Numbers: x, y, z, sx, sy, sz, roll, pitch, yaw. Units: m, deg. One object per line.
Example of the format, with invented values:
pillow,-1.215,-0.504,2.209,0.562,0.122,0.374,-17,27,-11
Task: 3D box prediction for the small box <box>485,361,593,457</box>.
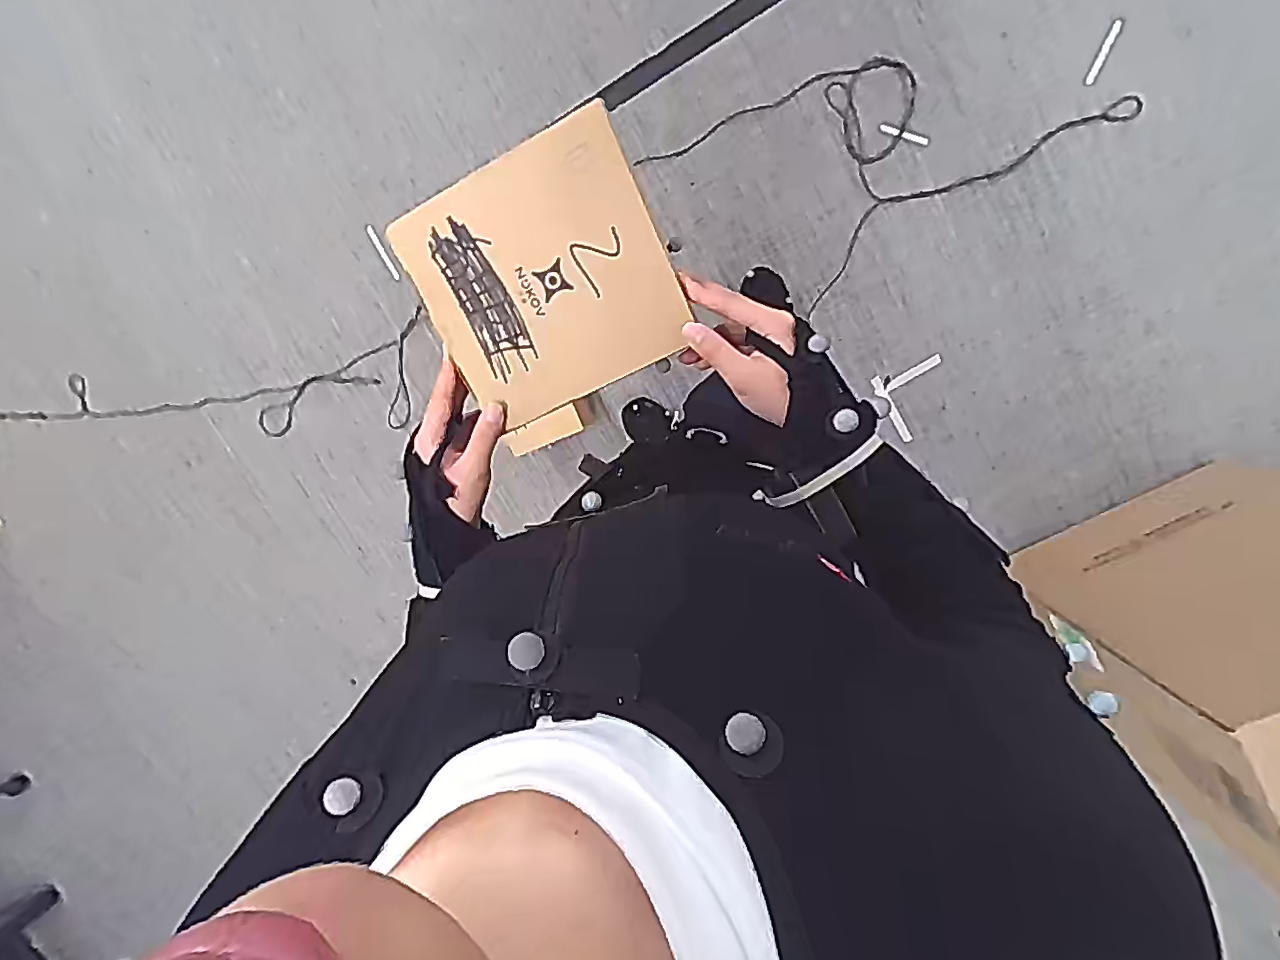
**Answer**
small box,-0.227,-0.167,1.262,0.179,0.176,0.168,-21,99,8
